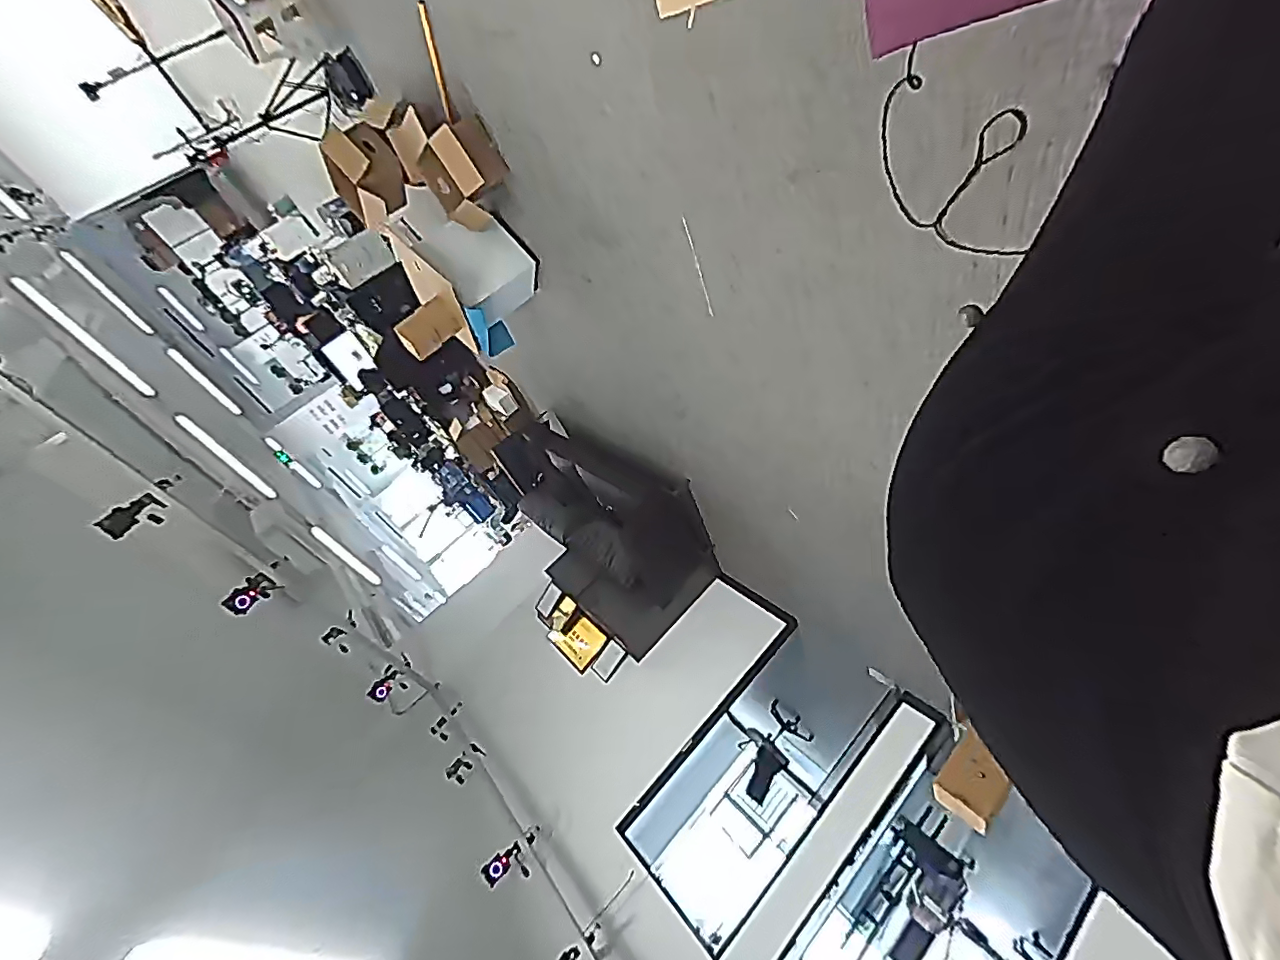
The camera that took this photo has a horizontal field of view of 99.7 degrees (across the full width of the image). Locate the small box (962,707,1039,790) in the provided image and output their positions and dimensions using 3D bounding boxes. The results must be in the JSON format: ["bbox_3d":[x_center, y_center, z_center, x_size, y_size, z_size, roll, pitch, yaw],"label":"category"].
[{"bbox_3d":[1.218,0.909,1.829,0.168,0.176,0.179,26,154,46],"label":"small box"}]

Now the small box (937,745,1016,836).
[{"bbox_3d":[1.109,1.020,1.782,0.168,0.176,0.179,27,154,46],"label":"small box"}]
